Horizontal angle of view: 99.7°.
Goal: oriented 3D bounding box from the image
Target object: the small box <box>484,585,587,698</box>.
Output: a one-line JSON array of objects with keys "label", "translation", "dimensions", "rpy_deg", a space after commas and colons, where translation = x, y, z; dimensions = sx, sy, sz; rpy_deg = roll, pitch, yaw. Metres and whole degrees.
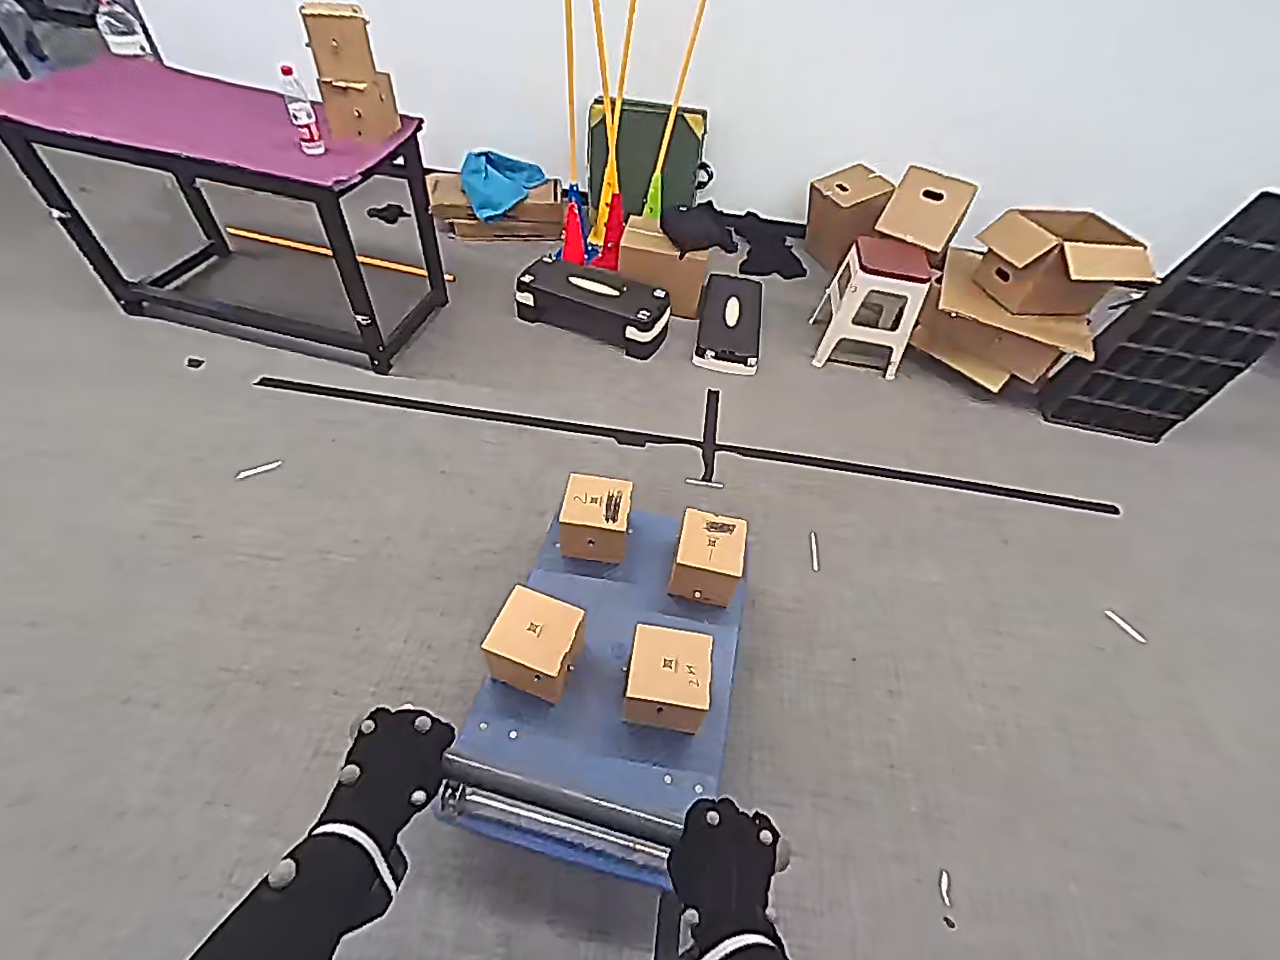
[{"label": "small box", "translation": [-0.237, 0.379, 1.253], "dimensions": [0.179, 0.176, 0.168], "rpy_deg": [20, 50, 7]}]

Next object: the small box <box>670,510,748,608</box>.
[{"label": "small box", "translation": [0.181, 0.213, 1.444], "dimensions": [0.168, 0.176, 0.179], "rpy_deg": [13, 51, 4]}]

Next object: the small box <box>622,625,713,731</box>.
[{"label": "small box", "translation": [0.059, 0.453, 1.228], "dimensions": [0.179, 0.176, 0.168], "rpy_deg": [10, 50, 2]}]
